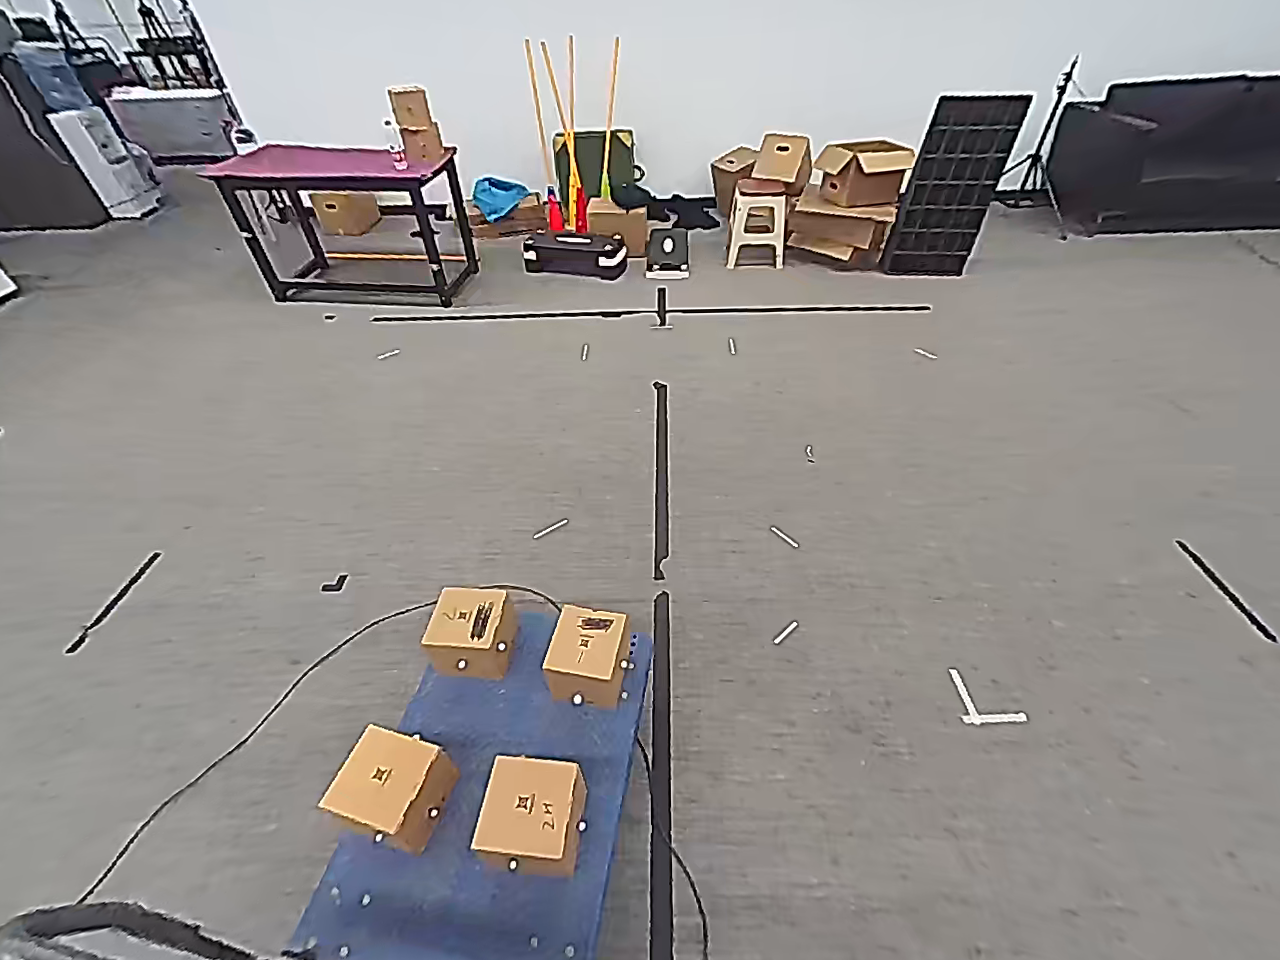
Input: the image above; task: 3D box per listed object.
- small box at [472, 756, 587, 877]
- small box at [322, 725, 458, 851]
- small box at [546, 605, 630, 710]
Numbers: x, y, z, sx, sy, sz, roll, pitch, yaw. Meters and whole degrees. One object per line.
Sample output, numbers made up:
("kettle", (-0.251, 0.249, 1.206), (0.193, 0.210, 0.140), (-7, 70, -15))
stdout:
("small box", (-0.213, 0.684, 1.098), (0.179, 0.176, 0.168), (3, 44, 6))
("small box", (-0.516, 0.653, 1.143), (0.179, 0.176, 0.168), (11, 45, 11))
("small box", (-0.121, 0.442, 1.345), (0.168, 0.176, 0.179), (7, 46, 10))
